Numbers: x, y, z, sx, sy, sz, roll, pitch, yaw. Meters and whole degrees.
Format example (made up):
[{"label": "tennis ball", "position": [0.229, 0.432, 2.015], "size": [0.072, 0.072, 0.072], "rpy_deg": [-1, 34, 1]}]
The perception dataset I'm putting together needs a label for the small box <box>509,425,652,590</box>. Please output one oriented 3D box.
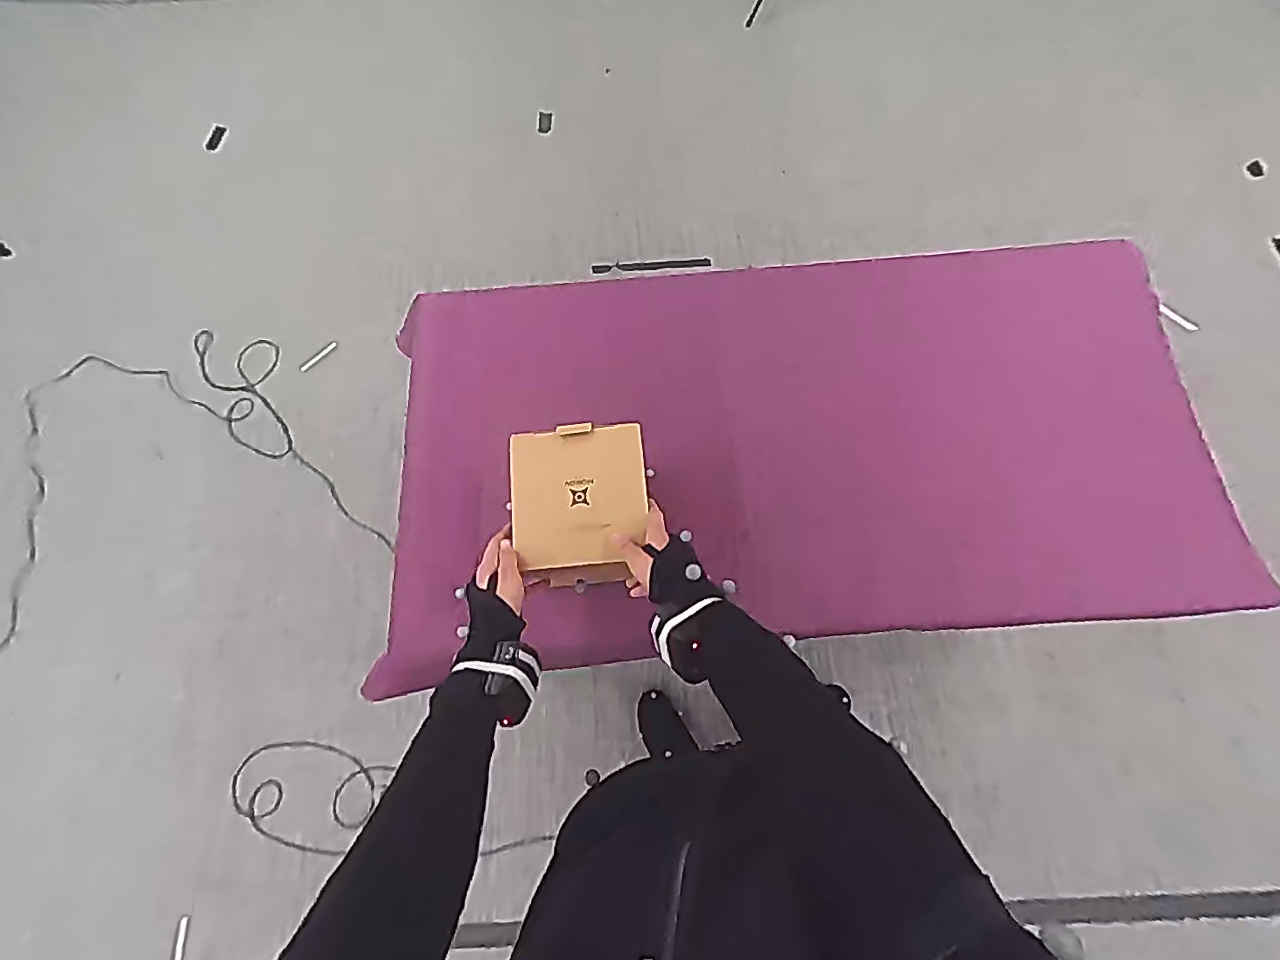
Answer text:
[{"label": "small box", "position": [-0.075, 0.044, 0.720], "size": [0.168, 0.176, 0.179], "rpy_deg": [-5, 72, -1]}]
